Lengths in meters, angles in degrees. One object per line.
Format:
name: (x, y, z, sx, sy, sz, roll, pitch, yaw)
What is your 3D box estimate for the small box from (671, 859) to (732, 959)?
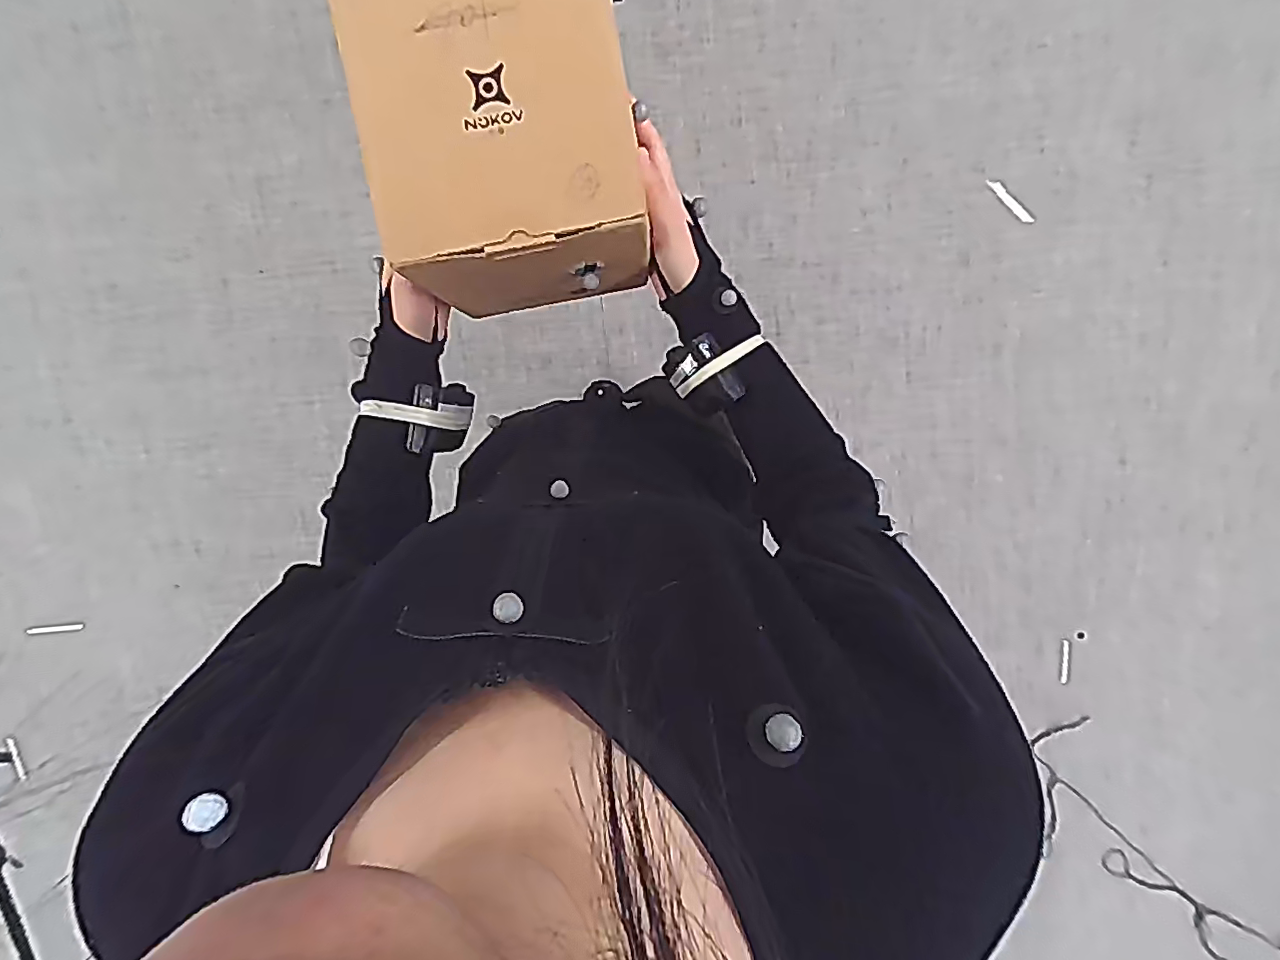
small box: (0.185, 1.300, 1.644, 0.168, 0.176, 0.179, -4, 102, -1)

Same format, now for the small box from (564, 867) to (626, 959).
small box: (-0.131, 1.324, 1.637, 0.168, 0.176, 0.179, -6, 99, -1)
